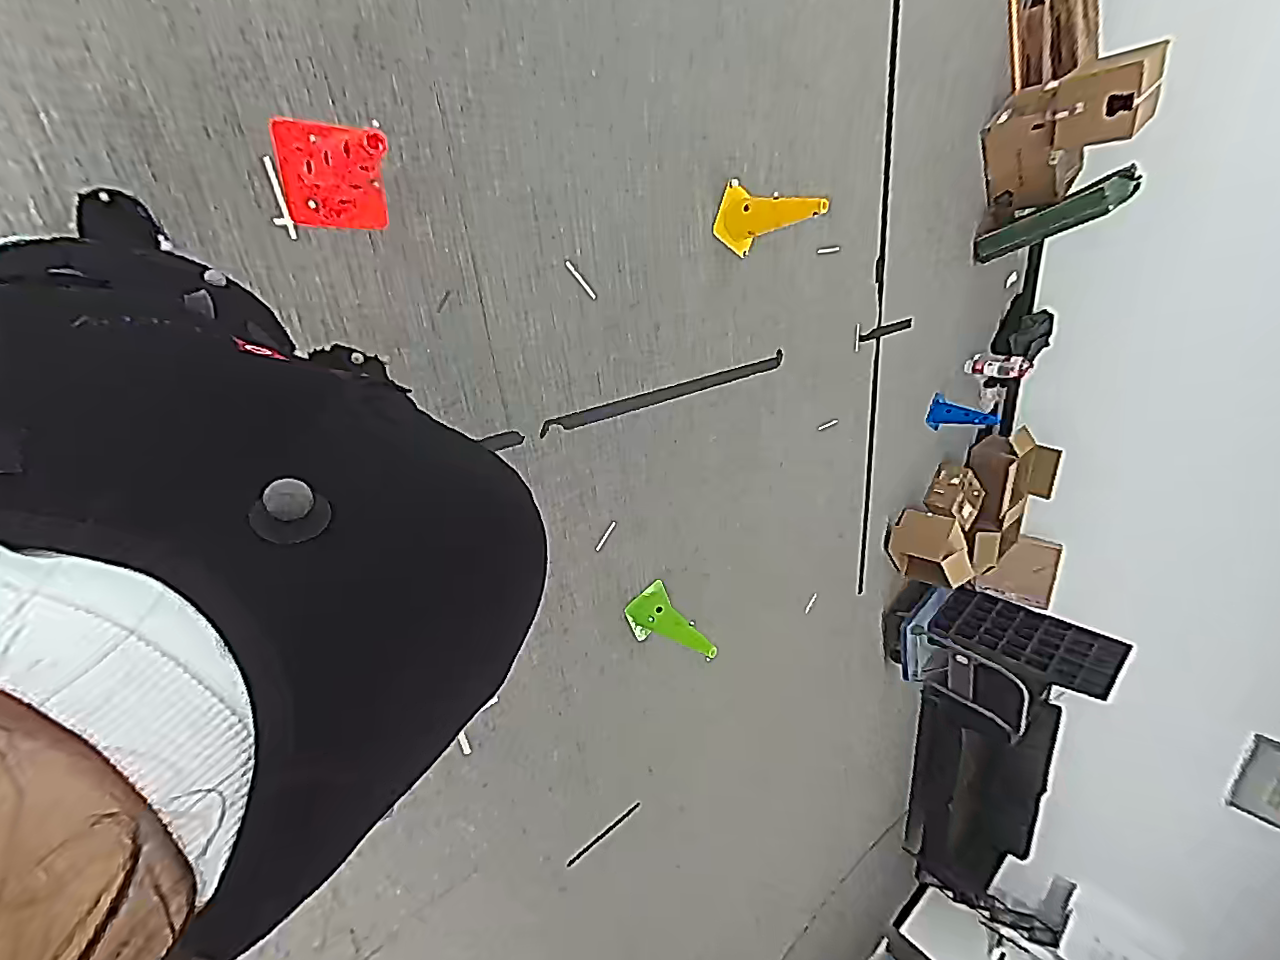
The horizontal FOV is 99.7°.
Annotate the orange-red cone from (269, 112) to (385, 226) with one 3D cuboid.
[{"bbox_3d":[-0.557,-0.616,1.034,0.199,0.360,0.198,-15,114,-38],"label":"orange-red cone"}]

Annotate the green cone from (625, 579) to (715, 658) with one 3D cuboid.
[{"bbox_3d":[0.143,0.558,2.026,0.202,0.368,0.200,-37,125,-24],"label":"green cone"}]
